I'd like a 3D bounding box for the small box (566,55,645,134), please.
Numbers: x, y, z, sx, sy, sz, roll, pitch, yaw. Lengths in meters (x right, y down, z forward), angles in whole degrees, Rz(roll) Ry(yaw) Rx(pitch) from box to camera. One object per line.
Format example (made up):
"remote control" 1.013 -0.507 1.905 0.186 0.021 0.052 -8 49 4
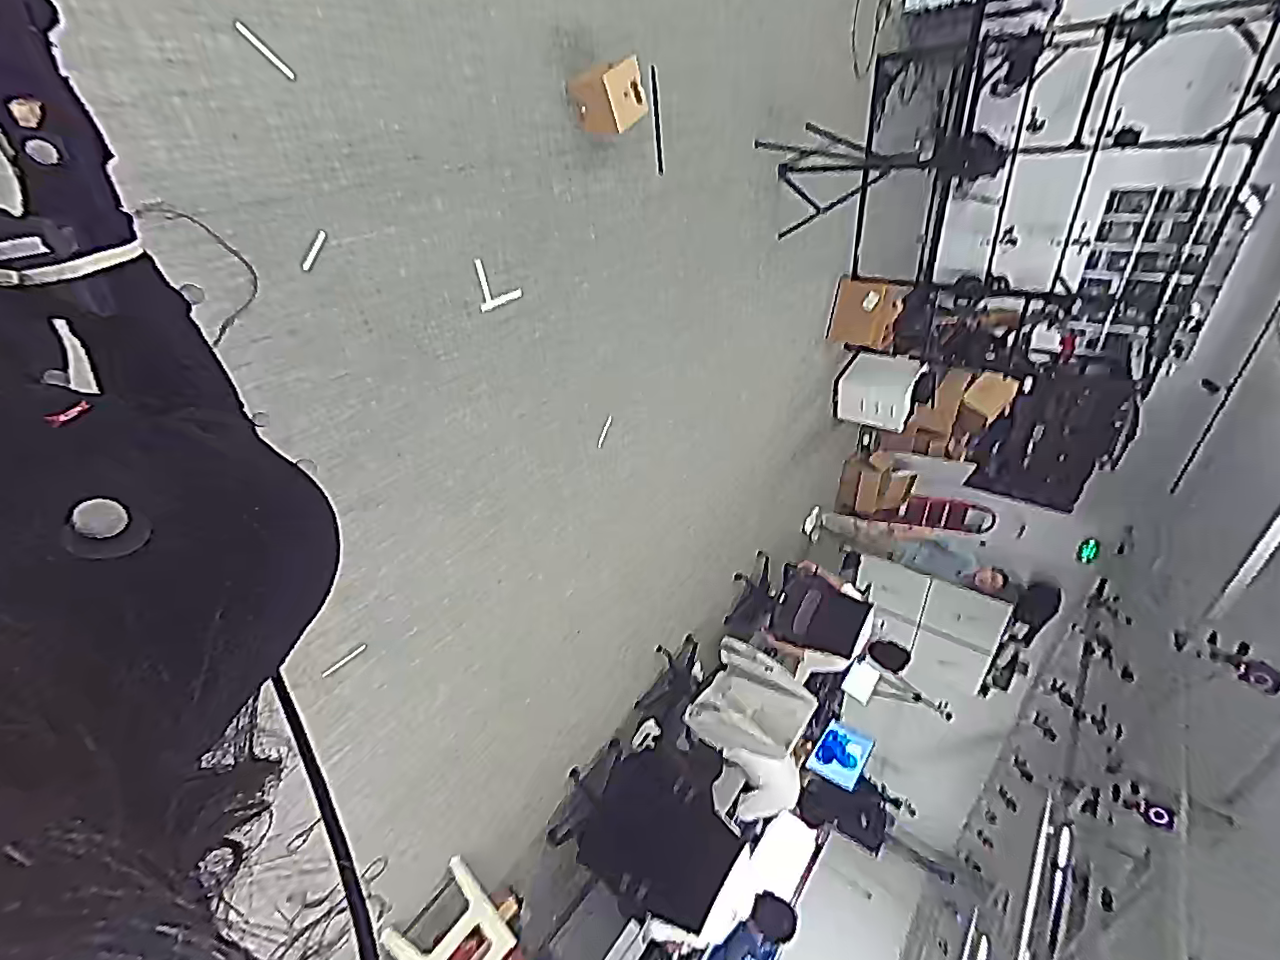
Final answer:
"small box" -0.116 -1.287 1.809 0.179 0.176 0.168 -52 142 -24
